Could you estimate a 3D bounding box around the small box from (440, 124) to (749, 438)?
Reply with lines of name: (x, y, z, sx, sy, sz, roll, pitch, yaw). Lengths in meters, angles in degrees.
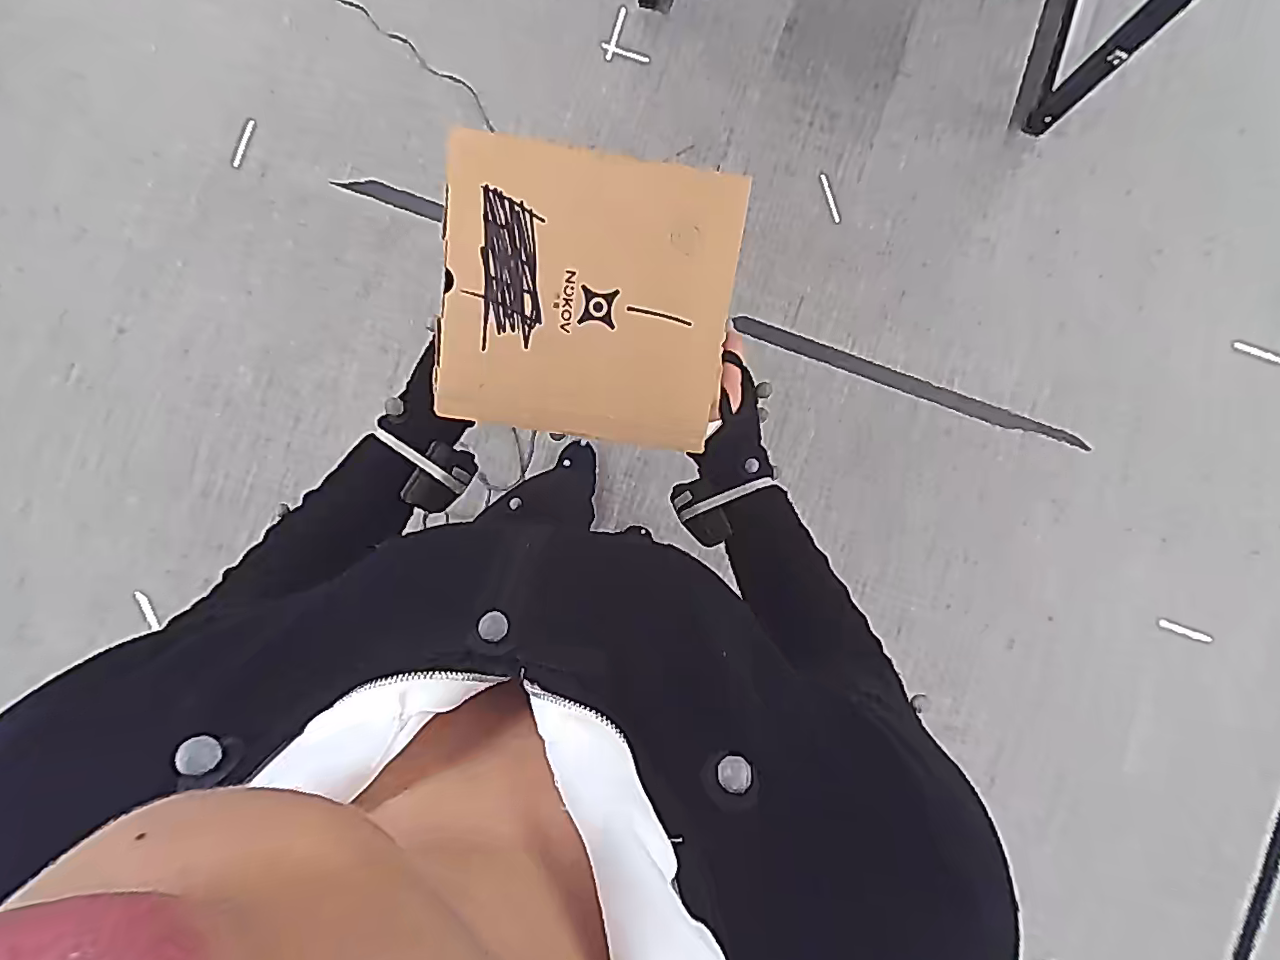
small box: (-0.033, -0.138, 0.413, 0.179, 0.176, 0.168, 8, 105, -3)
